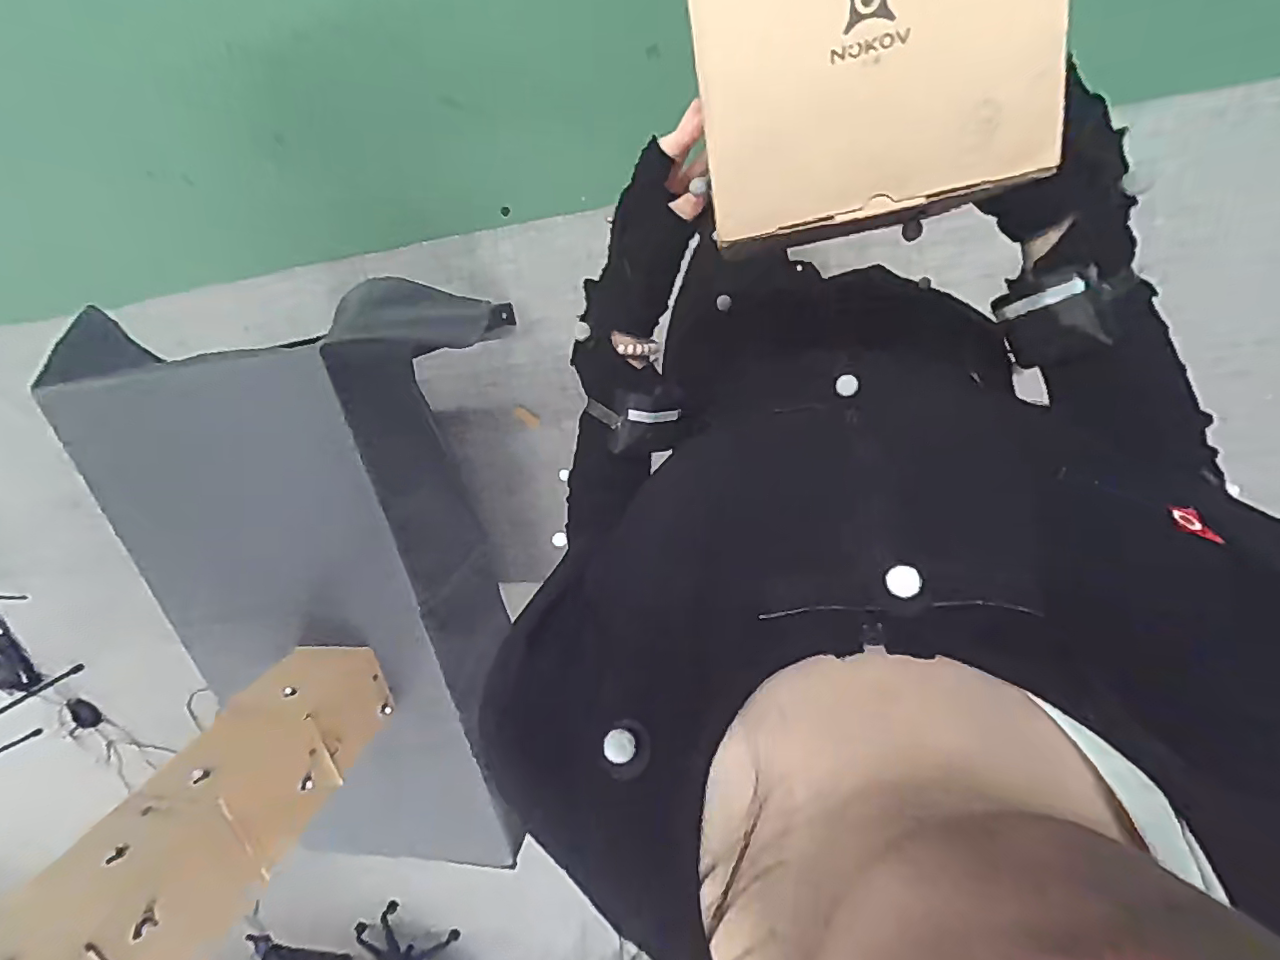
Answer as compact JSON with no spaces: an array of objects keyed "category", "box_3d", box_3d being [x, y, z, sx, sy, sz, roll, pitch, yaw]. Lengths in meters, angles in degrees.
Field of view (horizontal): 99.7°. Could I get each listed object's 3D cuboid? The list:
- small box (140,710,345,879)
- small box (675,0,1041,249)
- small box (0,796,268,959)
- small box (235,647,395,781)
[{"category":"small box","box_3d":[-0.626,0.496,0.874,0.179,0.176,0.168,-4,112,14]},{"category":"small box","box_3d":[0.116,-0.250,0.334,0.168,0.176,0.179,-8,108,13]},{"category":"small box","box_3d":[-0.656,0.560,0.725,0.168,0.176,0.179,-3,112,14]},{"category":"small box","box_3d":[-0.594,0.433,1.020,0.179,0.176,0.168,-4,112,15]}]
